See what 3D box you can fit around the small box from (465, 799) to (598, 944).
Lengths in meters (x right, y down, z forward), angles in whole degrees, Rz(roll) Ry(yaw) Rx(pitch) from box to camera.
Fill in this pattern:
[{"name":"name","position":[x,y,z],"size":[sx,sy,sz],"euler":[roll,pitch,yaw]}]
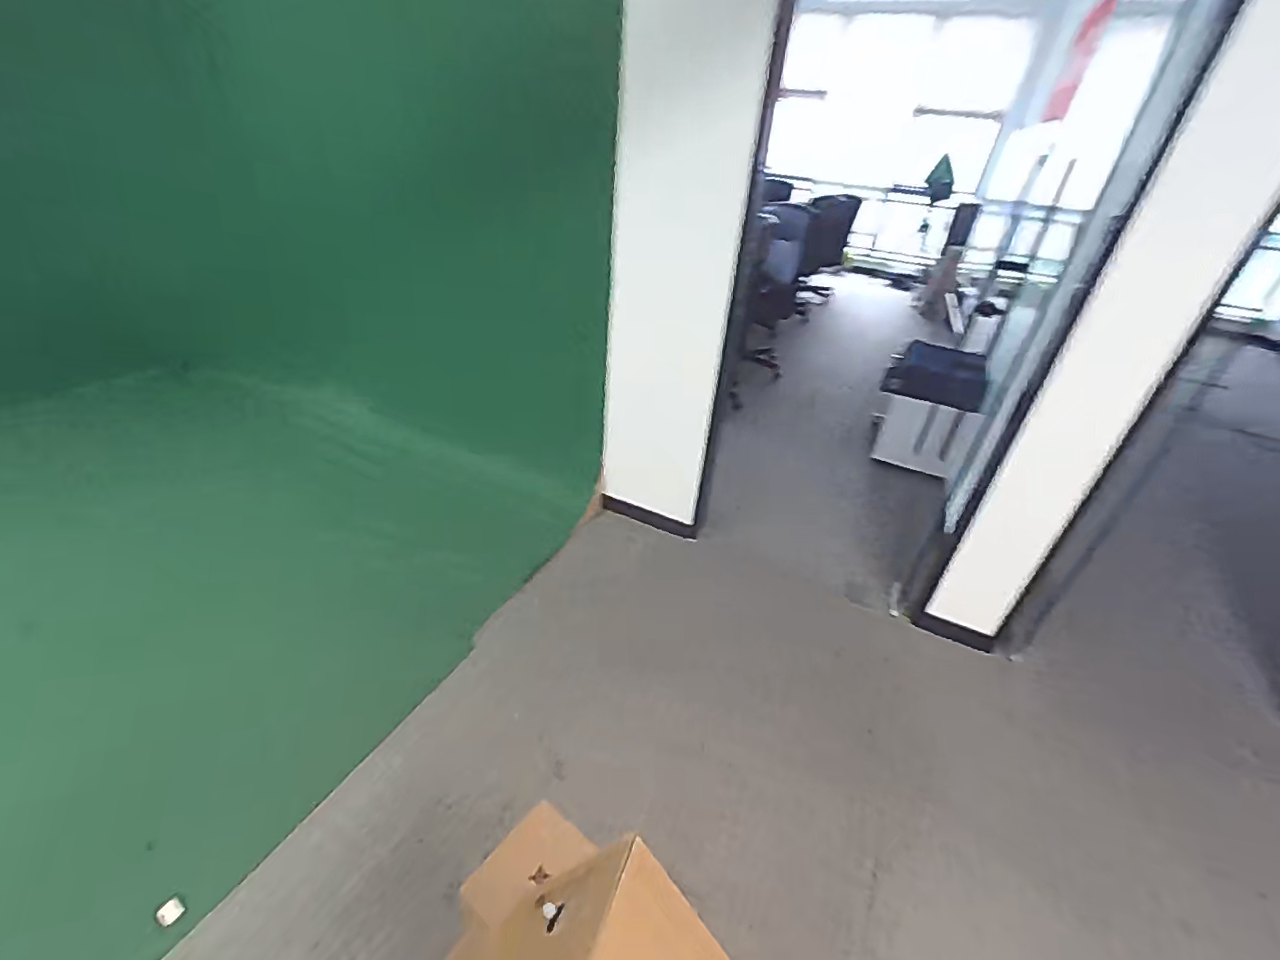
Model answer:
[{"name":"small box","position":[-0.143,0.647,0.823],"size":[0.179,0.176,0.168],"euler":[27,39,29]}]

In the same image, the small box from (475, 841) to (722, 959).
[{"name":"small box","position":[-0.036,0.429,0.404],"size":[0.179,0.168,0.176],"euler":[51,15,4]}]
